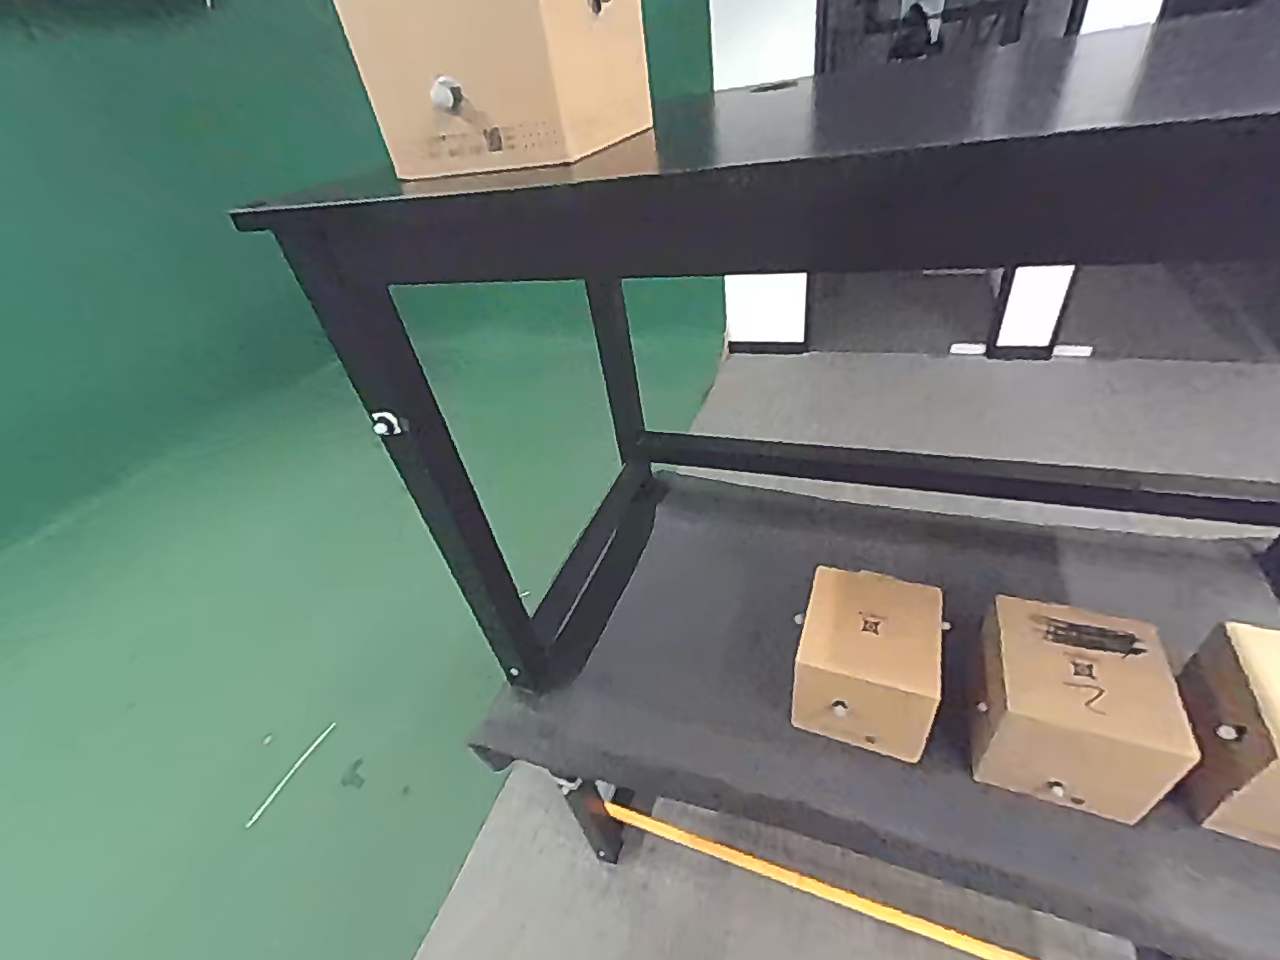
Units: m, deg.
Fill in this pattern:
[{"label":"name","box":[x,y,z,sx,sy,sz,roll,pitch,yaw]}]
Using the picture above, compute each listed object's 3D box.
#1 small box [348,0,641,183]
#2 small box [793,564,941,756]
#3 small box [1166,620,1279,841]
[{"label":"small box","box":[-0.107,-0.351,0.435,0.168,0.176,0.179,7,42,22]},{"label":"small box","box":[0.317,0.251,0.761,0.168,0.176,0.179,8,41,24]},{"label":"small box","box":[0.737,0.292,0.596,0.168,0.176,0.179,9,41,24]}]
